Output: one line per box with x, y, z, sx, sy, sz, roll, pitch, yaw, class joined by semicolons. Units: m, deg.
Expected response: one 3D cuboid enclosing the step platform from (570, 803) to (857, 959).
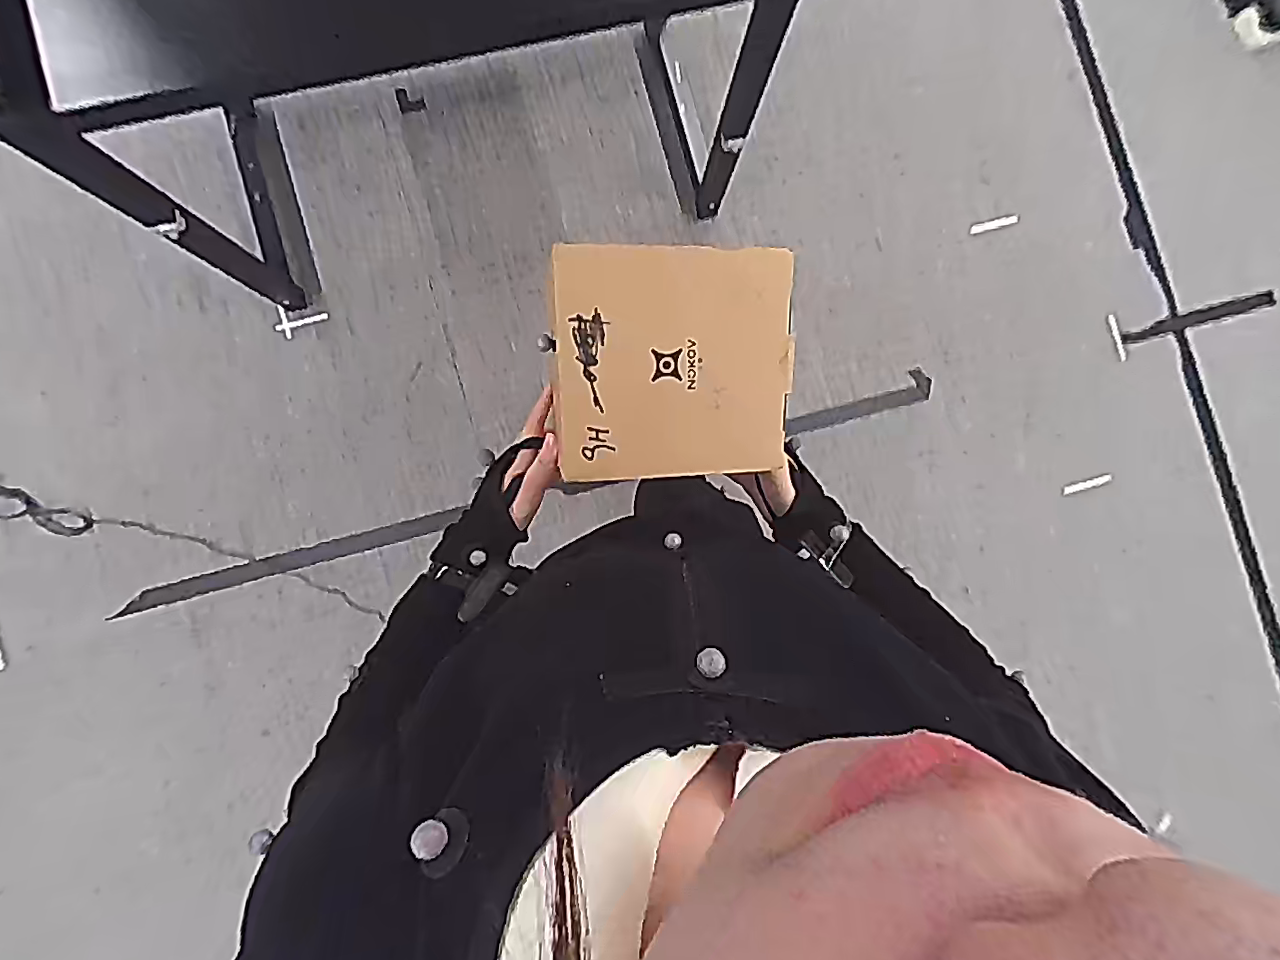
0.173;1.050;1.335;0.684;0.204;0.286;-10;88;-5;step platform

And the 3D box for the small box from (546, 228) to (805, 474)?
0.016;-0.105;0.460;0.179;0.176;0.168;-4;102;-12;small box
